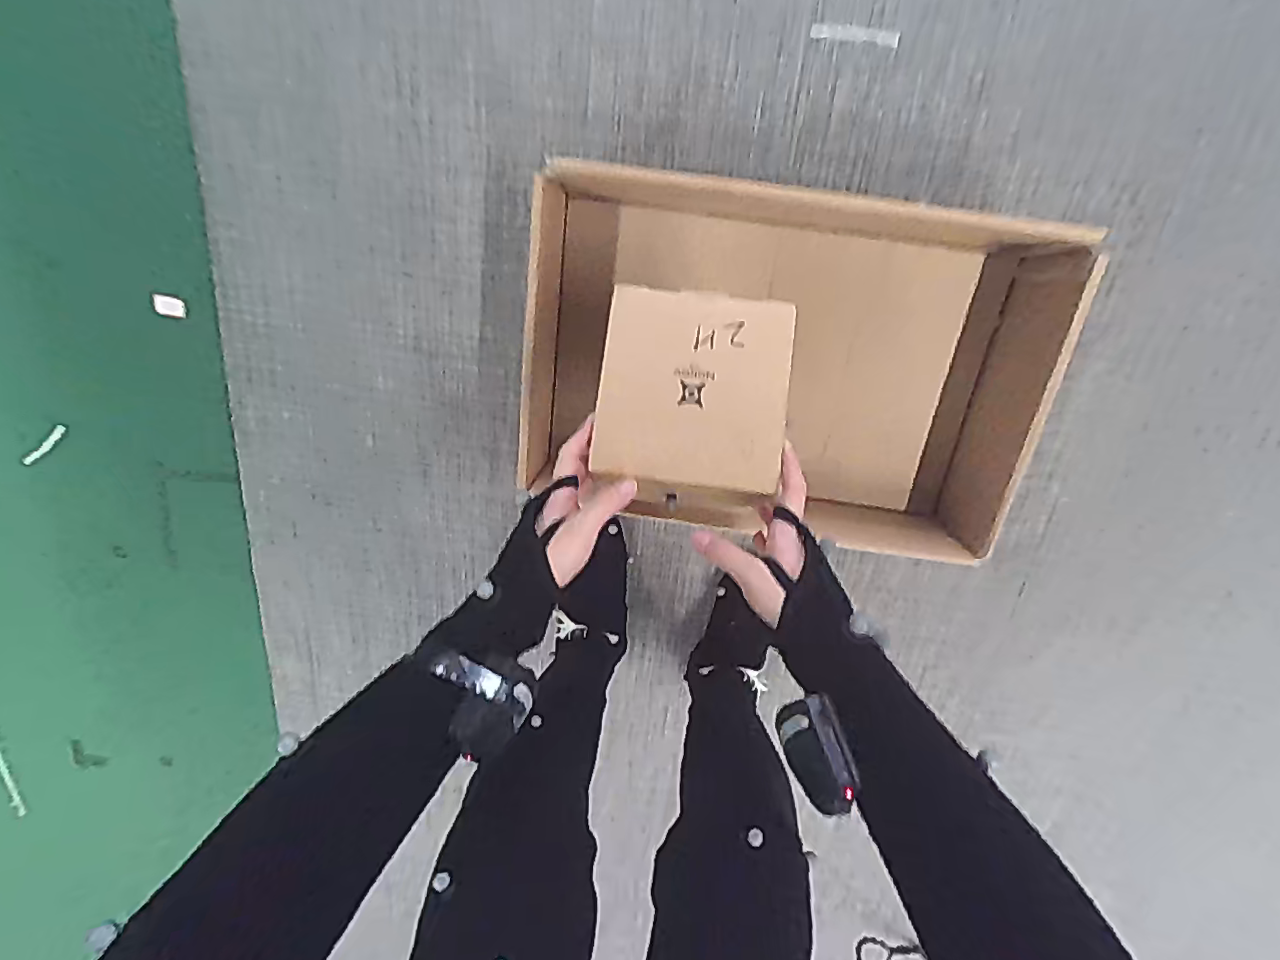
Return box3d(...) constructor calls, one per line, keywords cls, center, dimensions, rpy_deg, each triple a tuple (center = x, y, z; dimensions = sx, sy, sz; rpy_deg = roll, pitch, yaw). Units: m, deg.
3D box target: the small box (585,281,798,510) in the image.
box3d(cls="small box", center=(0.048, -0.069, 0.542), dimensions=(0.168, 0.176, 0.179), rpy_deg=(8, 81, 3))
